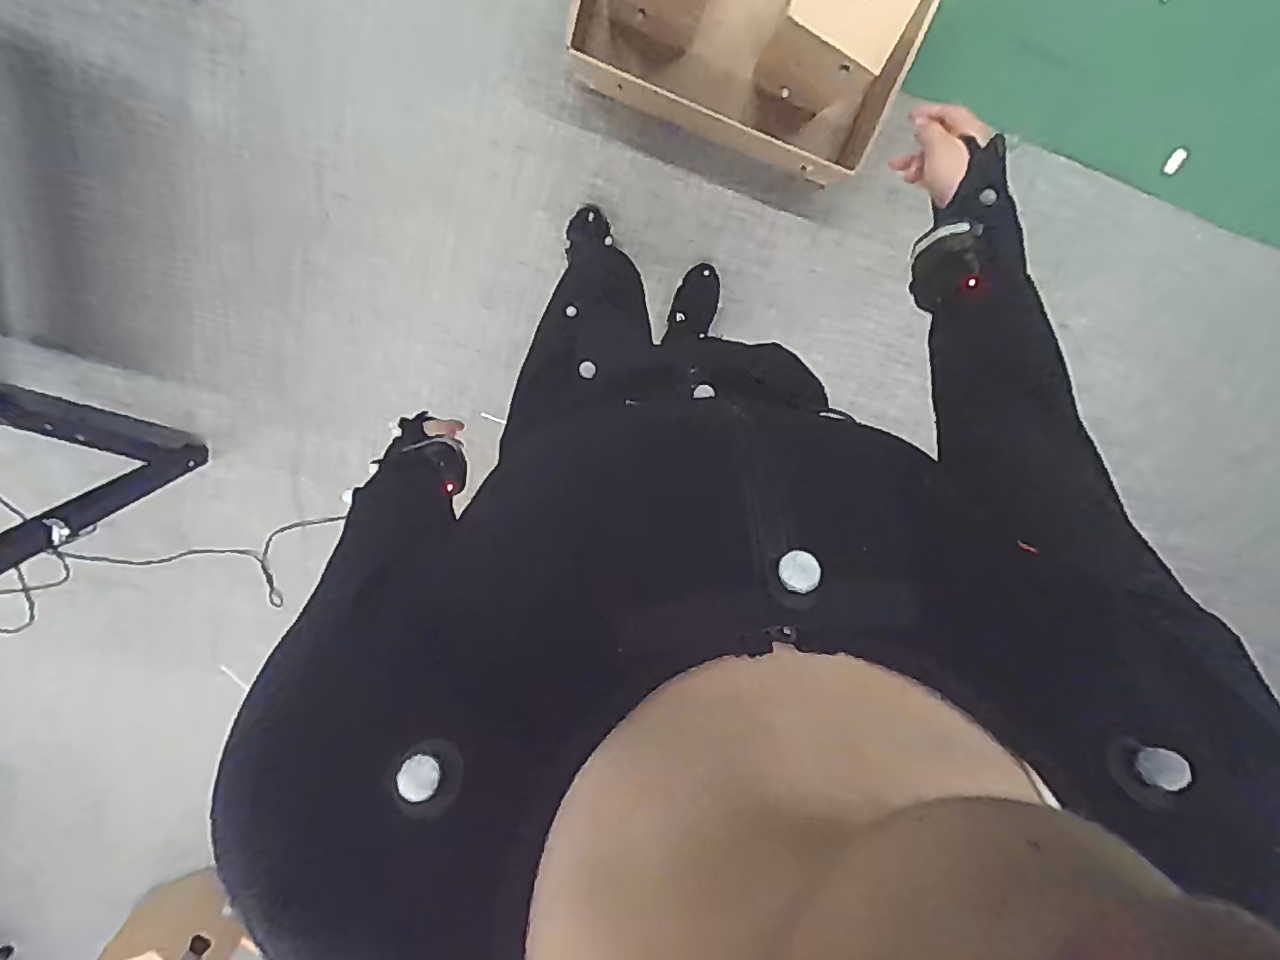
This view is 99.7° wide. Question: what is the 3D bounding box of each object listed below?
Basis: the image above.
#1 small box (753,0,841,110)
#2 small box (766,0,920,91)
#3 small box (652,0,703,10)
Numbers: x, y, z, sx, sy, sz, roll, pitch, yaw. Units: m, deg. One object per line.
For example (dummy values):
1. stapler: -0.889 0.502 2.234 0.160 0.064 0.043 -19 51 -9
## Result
1. small box: 0.332 -0.843 1.022 0.168 0.176 0.179 24 114 -10
2. small box: 0.330 -0.768 0.875 0.179 0.176 0.168 25 113 -11
3. small box: 0.036 -0.863 0.827 0.179 0.176 0.168 9 116 -6
